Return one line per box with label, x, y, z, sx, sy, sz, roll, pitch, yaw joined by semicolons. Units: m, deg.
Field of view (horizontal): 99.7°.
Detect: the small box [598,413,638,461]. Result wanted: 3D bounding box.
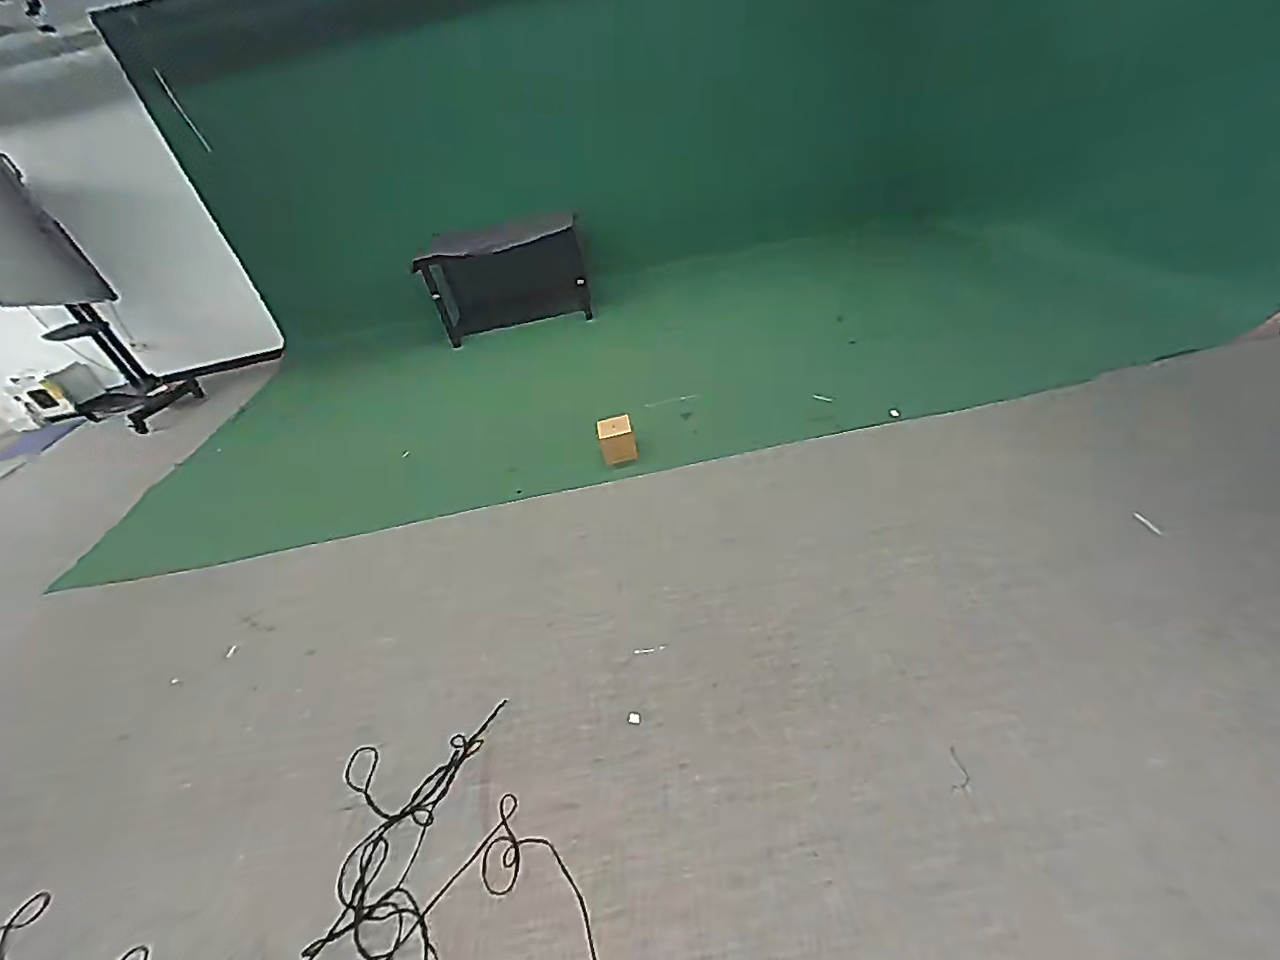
small box;-0.110;-0.212;2.750;0.168;0.176;0.179;-14;36;1
